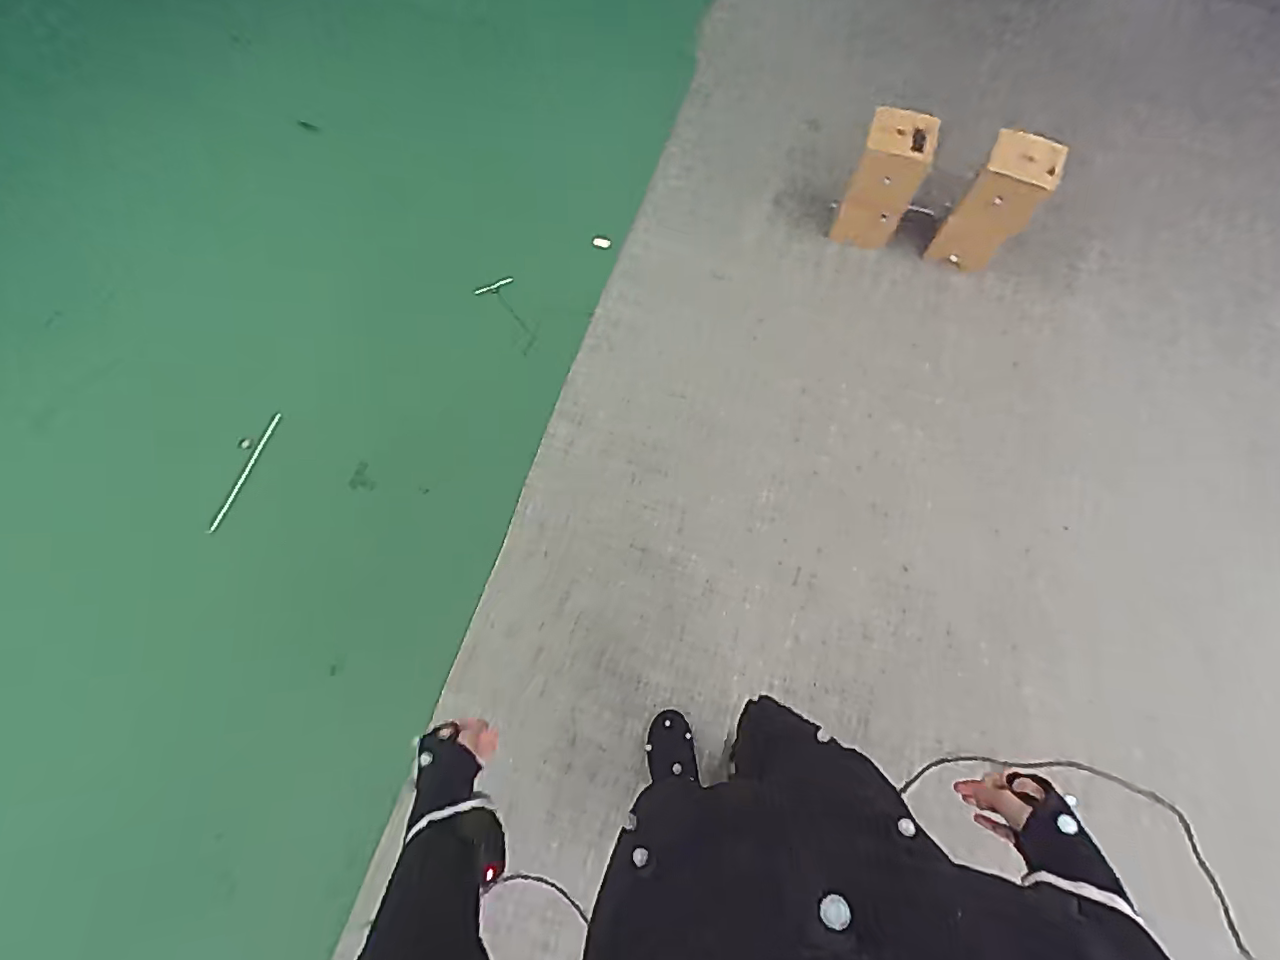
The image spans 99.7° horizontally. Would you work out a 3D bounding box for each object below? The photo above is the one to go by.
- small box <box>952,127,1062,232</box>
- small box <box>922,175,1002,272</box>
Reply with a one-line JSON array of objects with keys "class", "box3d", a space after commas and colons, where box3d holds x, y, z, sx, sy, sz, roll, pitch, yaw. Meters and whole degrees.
[{"class": "small box", "box3d": [0.999, -0.820, 1.487, 0.179, 0.176, 0.168, 24, 74, 11]}, {"class": "small box", "box3d": [0.993, -0.776, 1.647, 0.168, 0.176, 0.179, 25, 74, 11]}]
